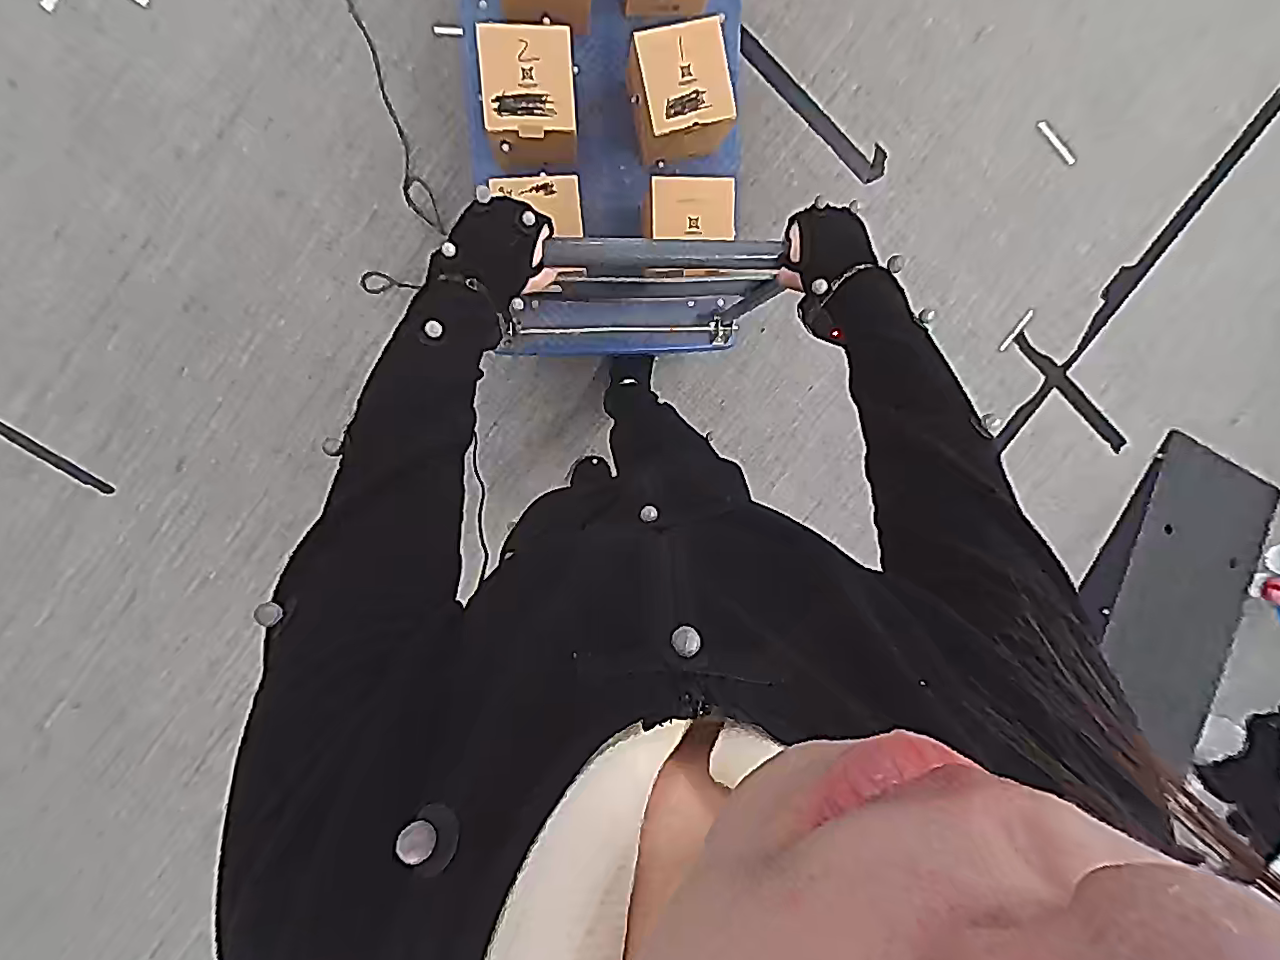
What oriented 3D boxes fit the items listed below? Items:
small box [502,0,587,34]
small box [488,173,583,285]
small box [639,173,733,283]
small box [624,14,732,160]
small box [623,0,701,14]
[{"bbox_3d":[-0.182,-0.988,1.007,0.168,0.176,0.179,-1,101,-7],"label":"small box"},{"bbox_3d":[-0.205,-0.497,1.096,0.168,0.176,0.179,-6,101,-7],"label":"small box"},{"bbox_3d":[0.091,-0.517,1.133,0.168,0.176,0.179,-2,100,-8],"label":"small box"},{"bbox_3d":[0.071,-0.770,1.083,0.168,0.176,0.179,-15,101,-5],"label":"small box"},{"bbox_3d":[0.047,-1.036,1.031,0.168,0.176,0.179,-6,101,-6],"label":"small box"}]
